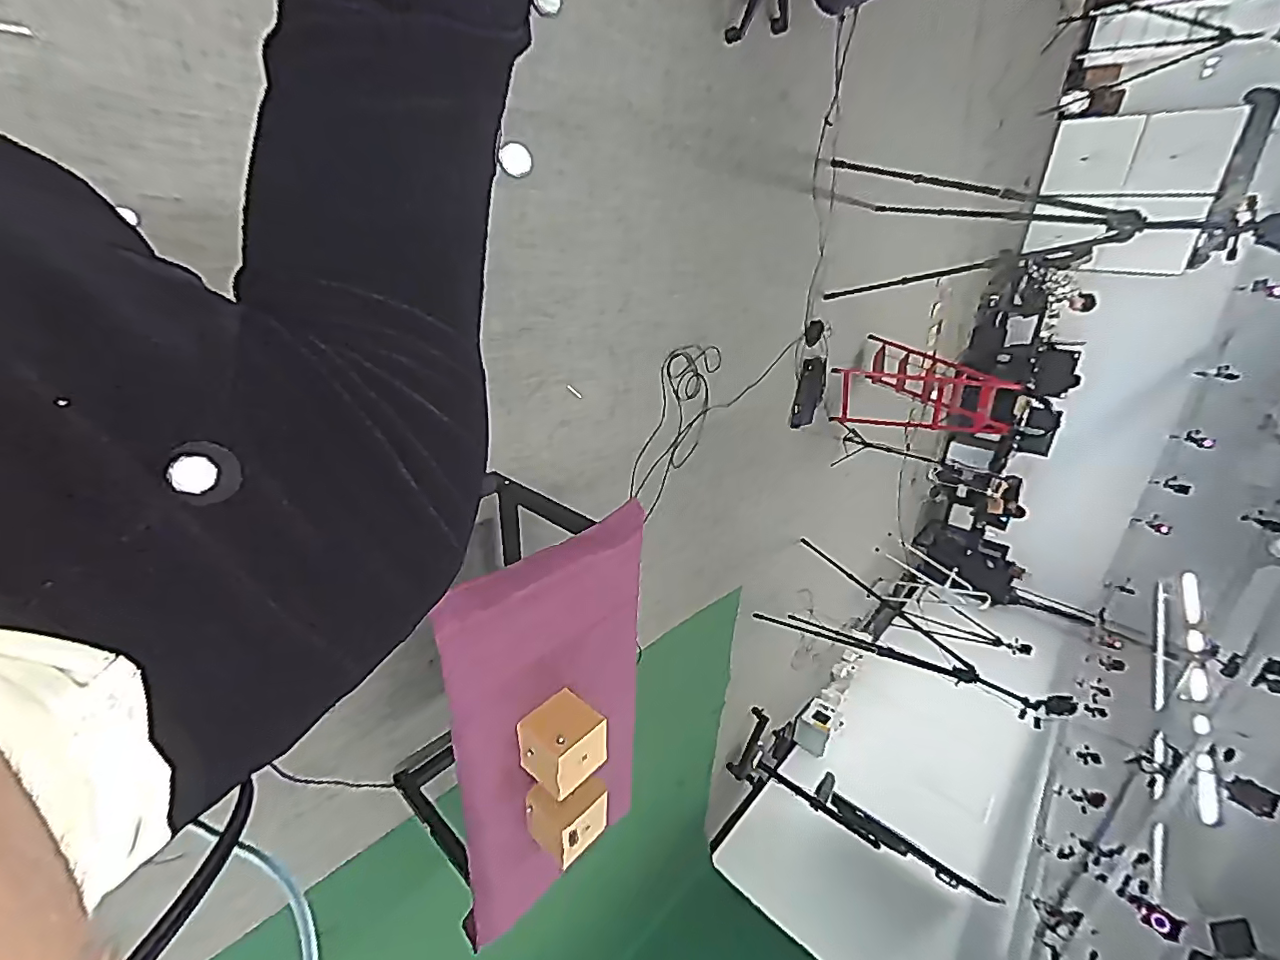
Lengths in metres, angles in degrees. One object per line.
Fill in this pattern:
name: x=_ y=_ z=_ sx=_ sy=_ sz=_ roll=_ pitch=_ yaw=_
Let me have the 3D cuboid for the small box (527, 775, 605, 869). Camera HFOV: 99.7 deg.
small box: x=-0.224 y=0.985 z=1.608 sx=0.179 sy=0.176 sz=0.168 roll=-22 pitch=123 yaw=-45

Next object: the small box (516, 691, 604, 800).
small box: x=-0.219 y=0.721 z=1.492 sx=0.179 sy=0.176 sz=0.168 roll=-24 pitch=125 yaw=-42
